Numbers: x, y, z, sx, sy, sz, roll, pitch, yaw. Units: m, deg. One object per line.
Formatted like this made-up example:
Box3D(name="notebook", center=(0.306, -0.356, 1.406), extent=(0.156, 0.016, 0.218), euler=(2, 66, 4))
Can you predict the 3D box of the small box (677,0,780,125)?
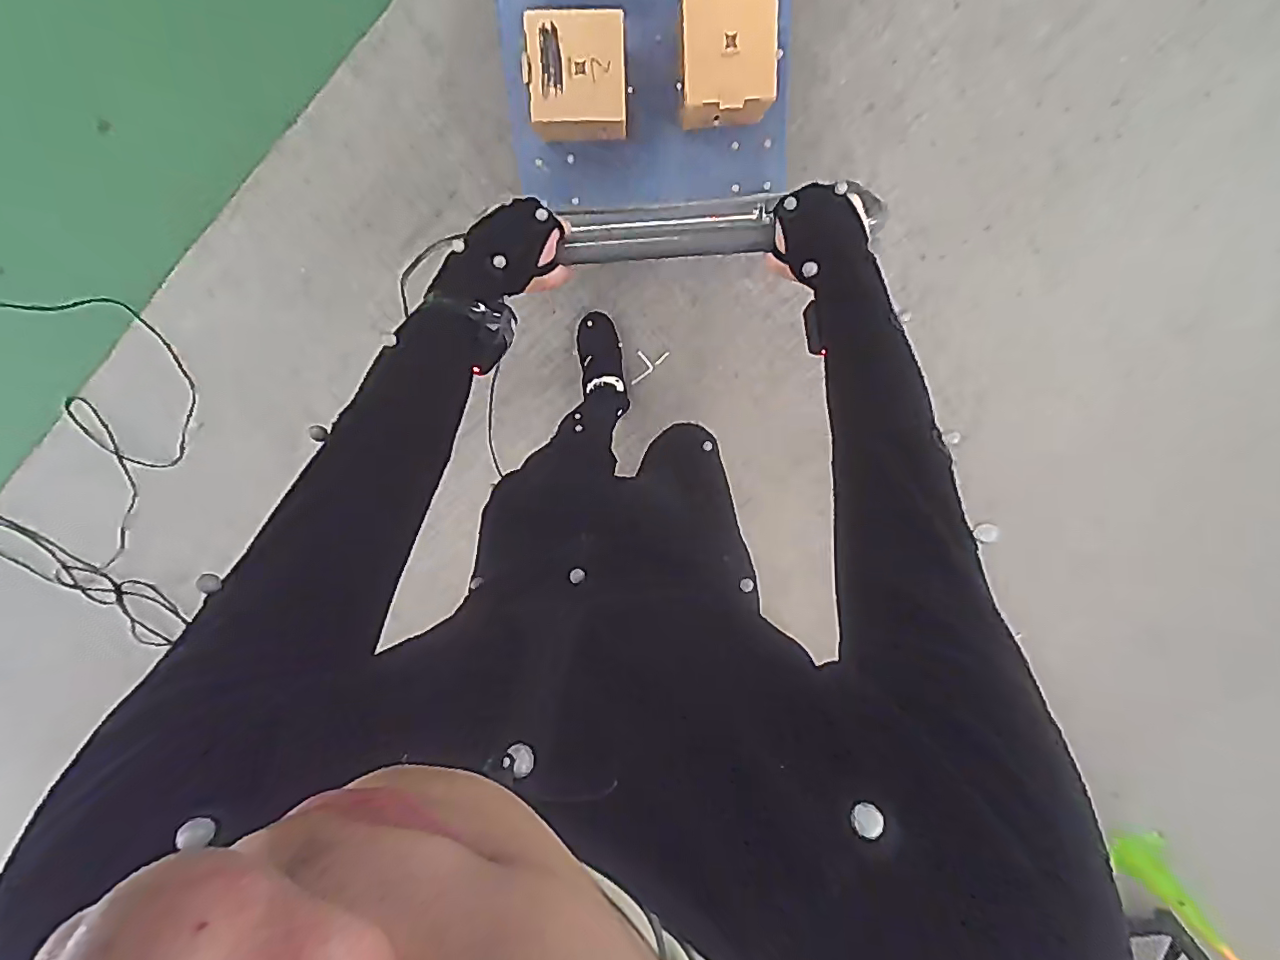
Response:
Box3D(name="small box", center=(0.160, -0.795, 1.018), extent=(0.168, 0.176, 0.179), euler=(-4, 113, 1))
